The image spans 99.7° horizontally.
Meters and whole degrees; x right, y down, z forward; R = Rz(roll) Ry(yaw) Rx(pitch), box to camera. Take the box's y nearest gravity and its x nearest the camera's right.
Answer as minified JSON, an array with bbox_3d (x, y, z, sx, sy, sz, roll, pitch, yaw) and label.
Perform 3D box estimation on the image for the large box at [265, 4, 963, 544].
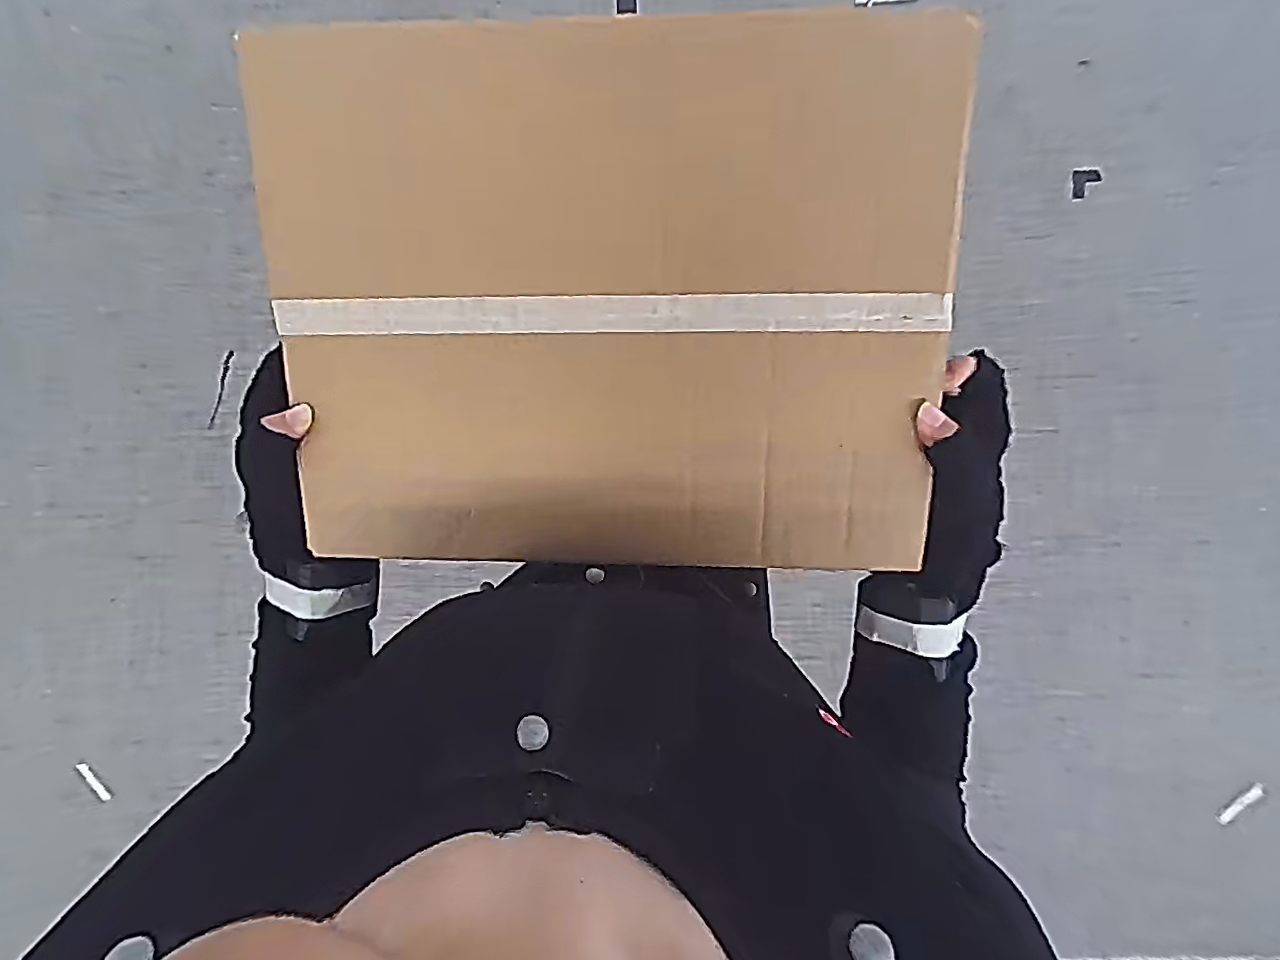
[{"bbox_3d":[-0.014,-0.138,0.478,0.408,0.320,0.320,1,103,3],"label":"large box"}]
